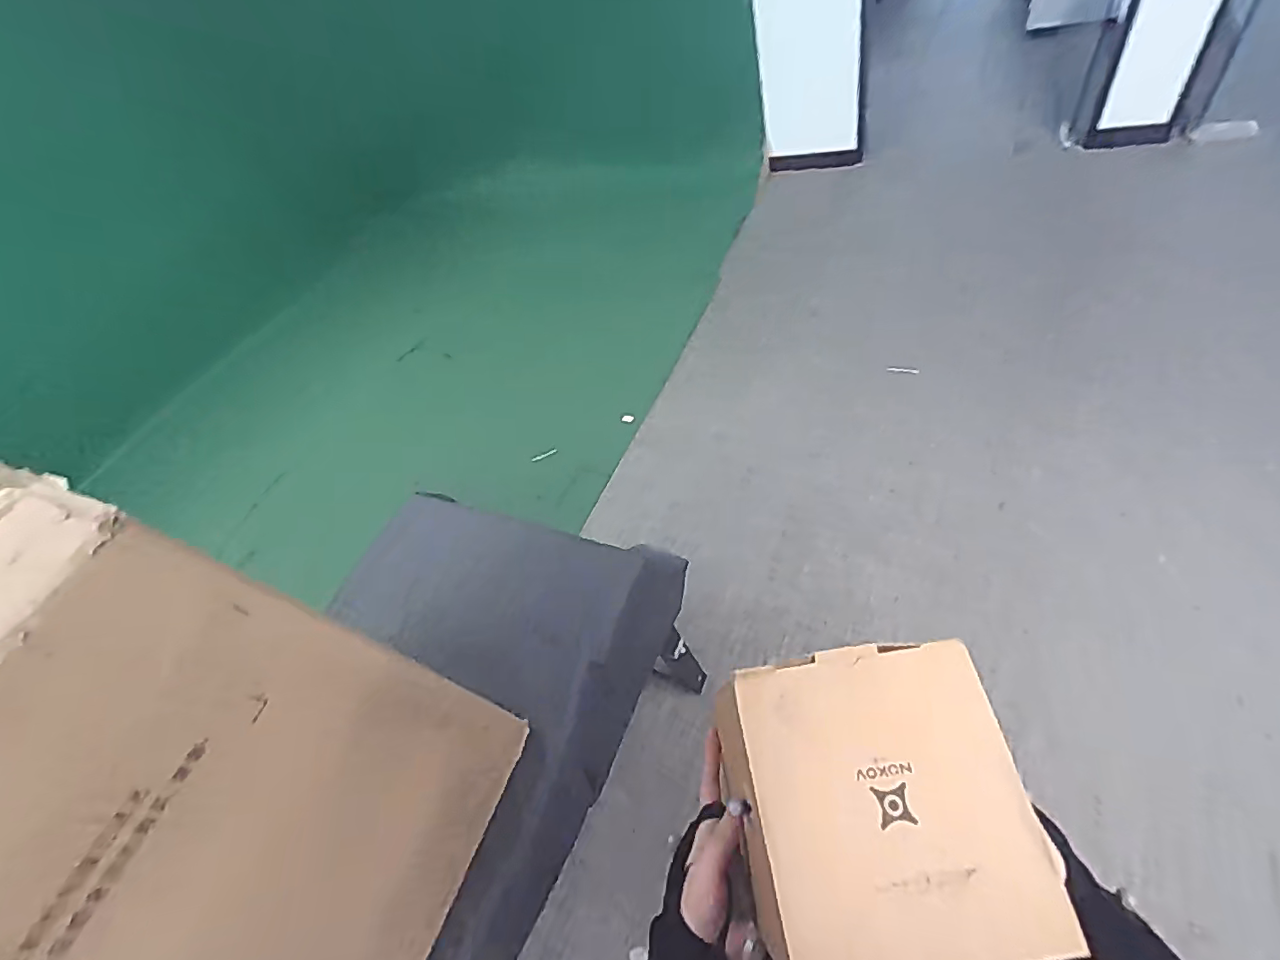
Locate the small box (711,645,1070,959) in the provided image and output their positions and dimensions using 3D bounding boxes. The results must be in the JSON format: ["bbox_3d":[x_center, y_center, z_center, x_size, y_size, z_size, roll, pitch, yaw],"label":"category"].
[{"bbox_3d":[0.153,0.235,0.408,0.168,0.176,0.179,-7,64,-2],"label":"small box"}]
